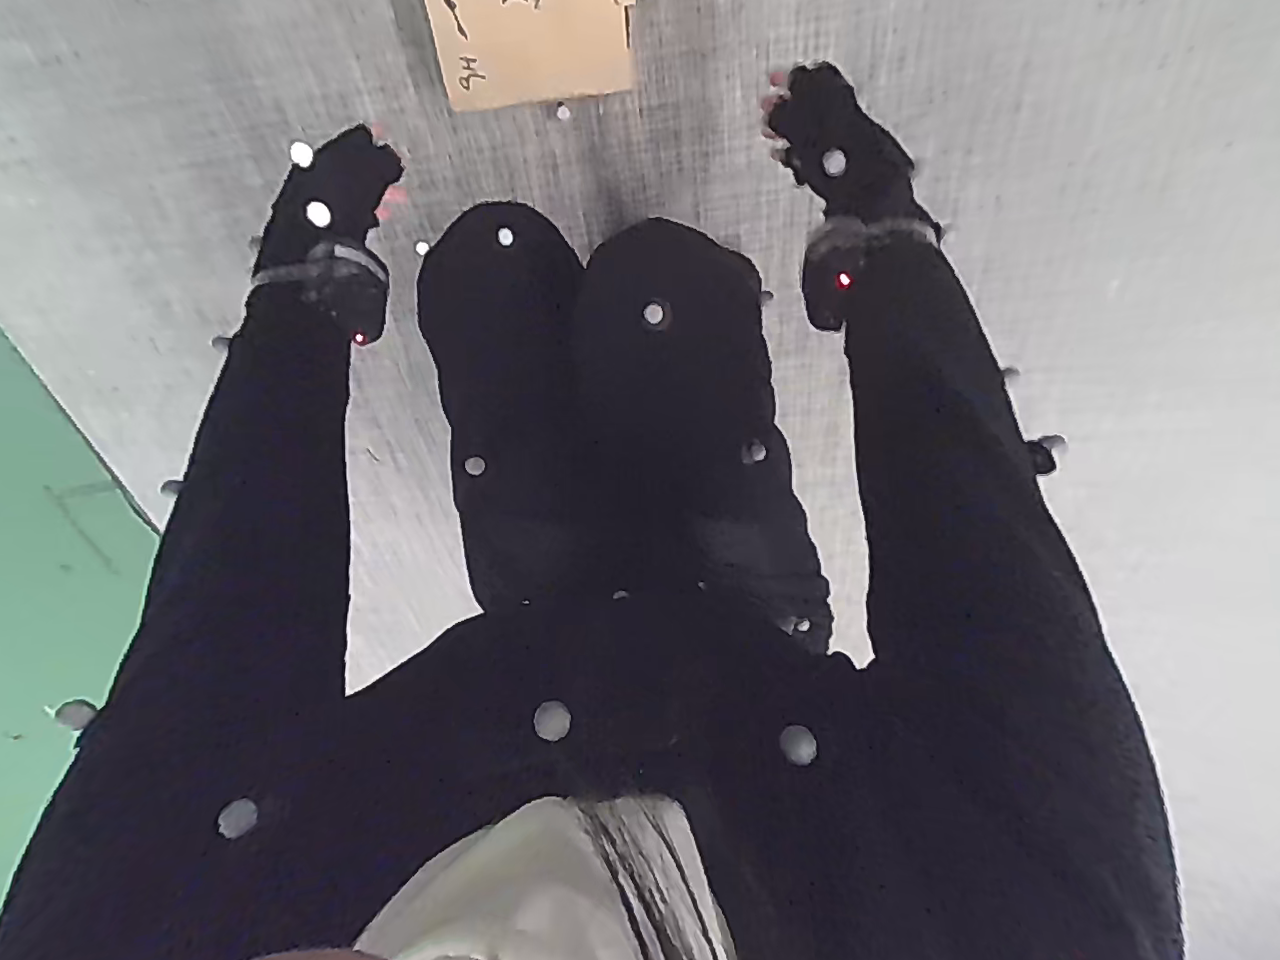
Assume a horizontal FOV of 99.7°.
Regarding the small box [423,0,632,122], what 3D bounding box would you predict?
[{"bbox_3d":[-0.100,-0.462,0.533,0.179,0.176,0.168,-3,125,4],"label":"small box"}]
